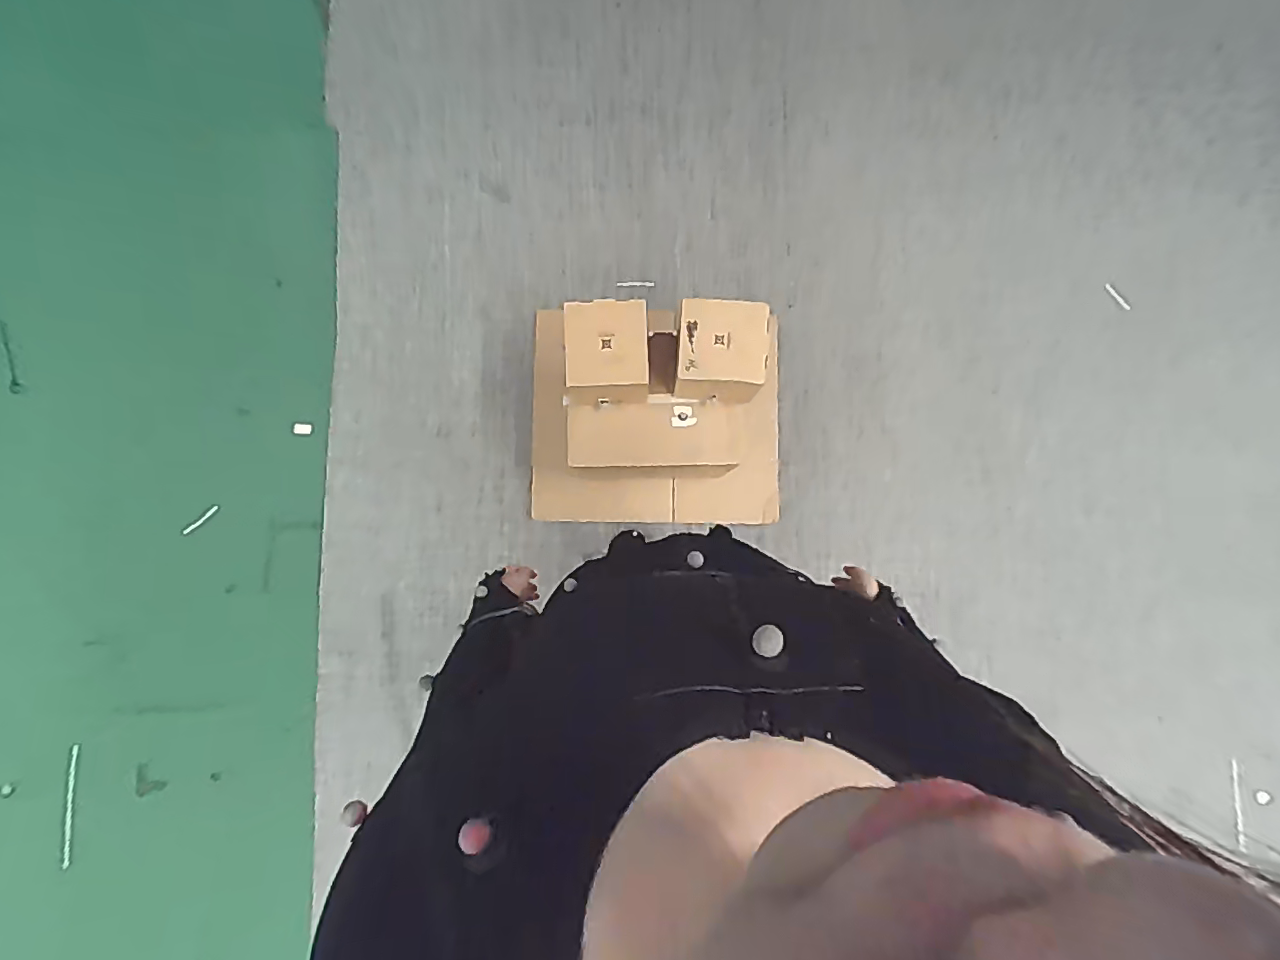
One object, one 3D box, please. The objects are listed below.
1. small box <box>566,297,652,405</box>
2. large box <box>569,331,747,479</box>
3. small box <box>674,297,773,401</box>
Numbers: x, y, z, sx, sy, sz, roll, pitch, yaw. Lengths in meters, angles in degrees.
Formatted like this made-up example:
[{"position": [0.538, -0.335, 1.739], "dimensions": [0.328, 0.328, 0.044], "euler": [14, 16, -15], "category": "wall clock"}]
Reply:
[{"position": [-0.062, -0.265, 1.141], "dimensions": [0.168, 0.176, 0.179], "euler": [-3, 85, 0], "category": "small box"}, {"position": [0.034, -0.176, 1.378], "dimensions": [0.408, 0.320, 0.320], "euler": [-2, 86, -2], "category": "large box"}, {"position": [0.169, -0.268, 1.139], "dimensions": [0.179, 0.176, 0.168], "euler": [4, 85, 1], "category": "small box"}]
